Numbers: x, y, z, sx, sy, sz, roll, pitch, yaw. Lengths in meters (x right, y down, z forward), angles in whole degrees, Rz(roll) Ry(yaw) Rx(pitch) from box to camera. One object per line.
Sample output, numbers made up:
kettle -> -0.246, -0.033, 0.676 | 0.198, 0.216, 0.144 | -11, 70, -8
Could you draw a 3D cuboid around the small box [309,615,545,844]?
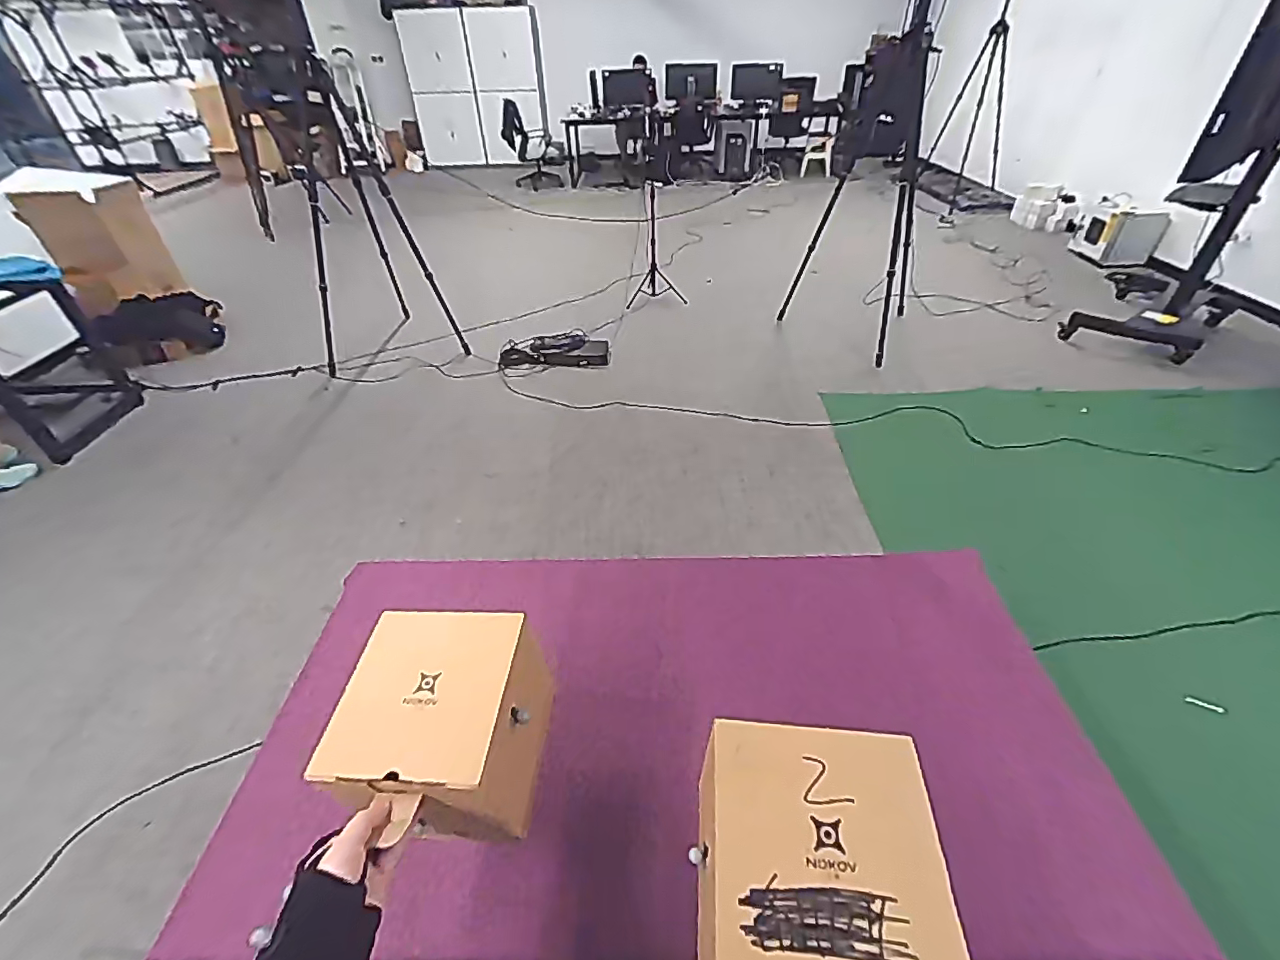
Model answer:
small box -> -0.210, 0.272, 0.597 | 0.168, 0.176, 0.179 | 0, 43, 6
